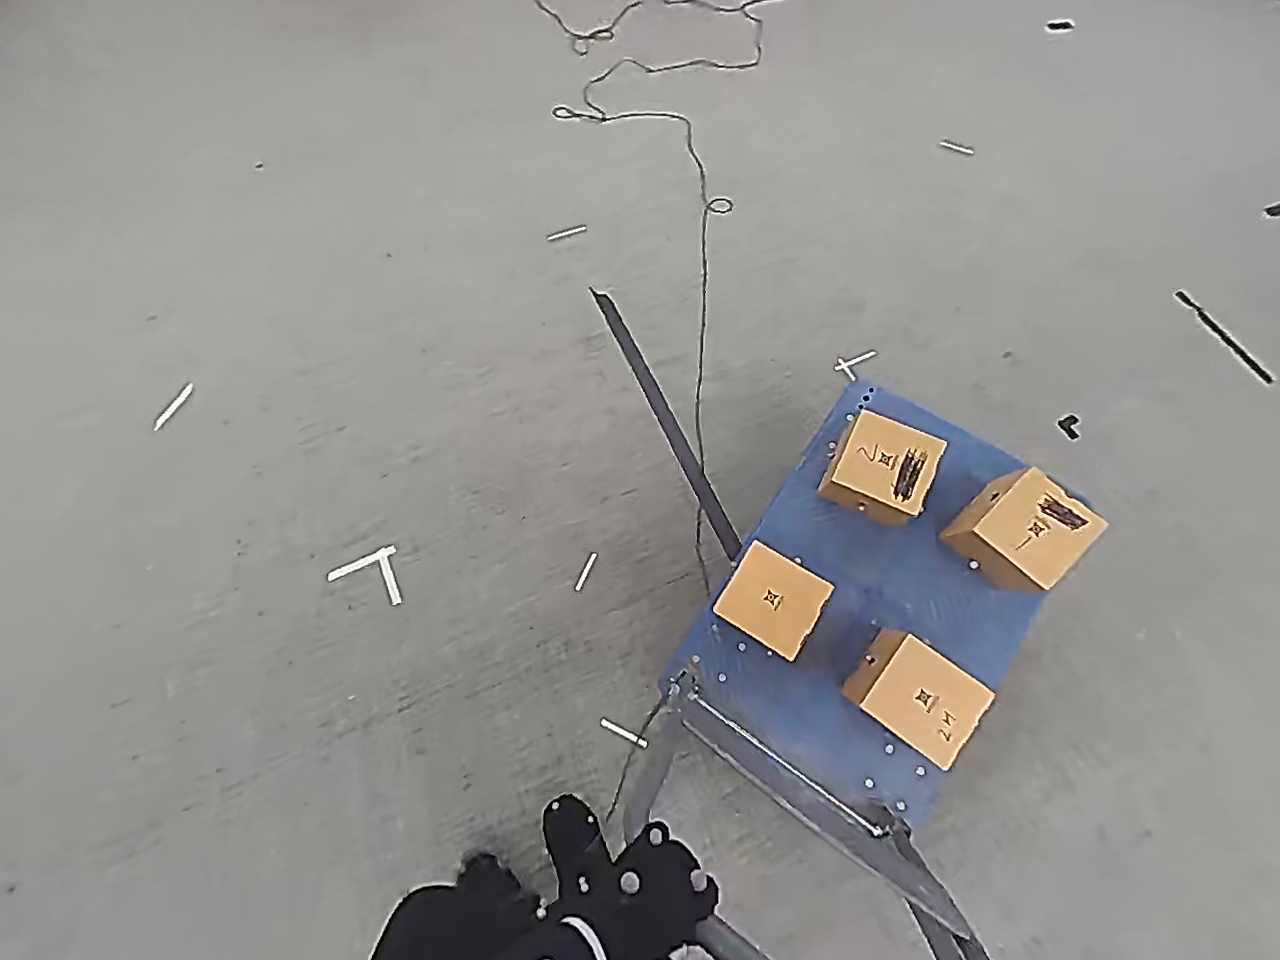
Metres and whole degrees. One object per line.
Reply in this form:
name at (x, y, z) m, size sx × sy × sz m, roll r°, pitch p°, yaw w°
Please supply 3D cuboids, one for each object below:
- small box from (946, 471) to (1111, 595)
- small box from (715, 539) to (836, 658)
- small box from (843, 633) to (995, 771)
small box at (0.759, 0.111, 1.081) m, size 0.179 × 0.176 × 0.168 m, roll -44°, pitch 76°, yaw -3°
small box at (0.267, 0.243, 1.116) m, size 0.179 × 0.176 × 0.168 m, roll 32°, pitch 83°, yaw 11°
small box at (0.523, 0.414, 1.044) m, size 0.179 × 0.176 × 0.168 m, roll 37°, pitch 85°, yaw 13°
